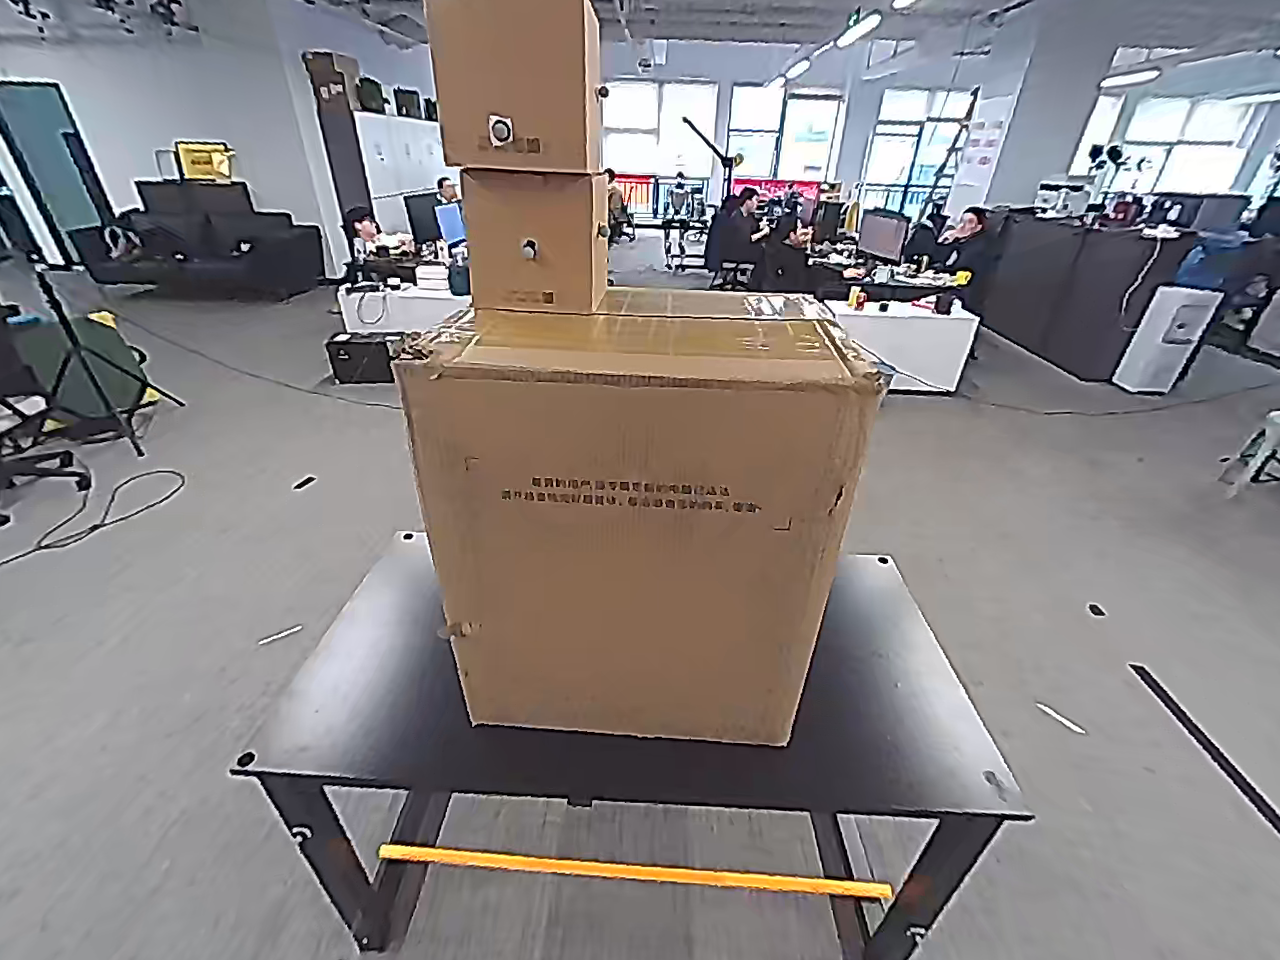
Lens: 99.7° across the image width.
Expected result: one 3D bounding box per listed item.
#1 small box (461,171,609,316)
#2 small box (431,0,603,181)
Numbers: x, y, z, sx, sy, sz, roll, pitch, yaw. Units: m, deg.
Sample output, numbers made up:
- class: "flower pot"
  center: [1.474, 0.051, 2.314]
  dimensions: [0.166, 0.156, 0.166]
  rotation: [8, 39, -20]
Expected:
- class: "small box"
  center: [-0.132, -0.335, 0.756]
  dimensions: [0.168, 0.176, 0.179]
  rotation: [4, 31, 1]
- class: "small box"
  center: [-0.131, -0.459, 0.644]
  dimensions: [0.168, 0.176, 0.179]
  rotation: [1, 31, -1]
